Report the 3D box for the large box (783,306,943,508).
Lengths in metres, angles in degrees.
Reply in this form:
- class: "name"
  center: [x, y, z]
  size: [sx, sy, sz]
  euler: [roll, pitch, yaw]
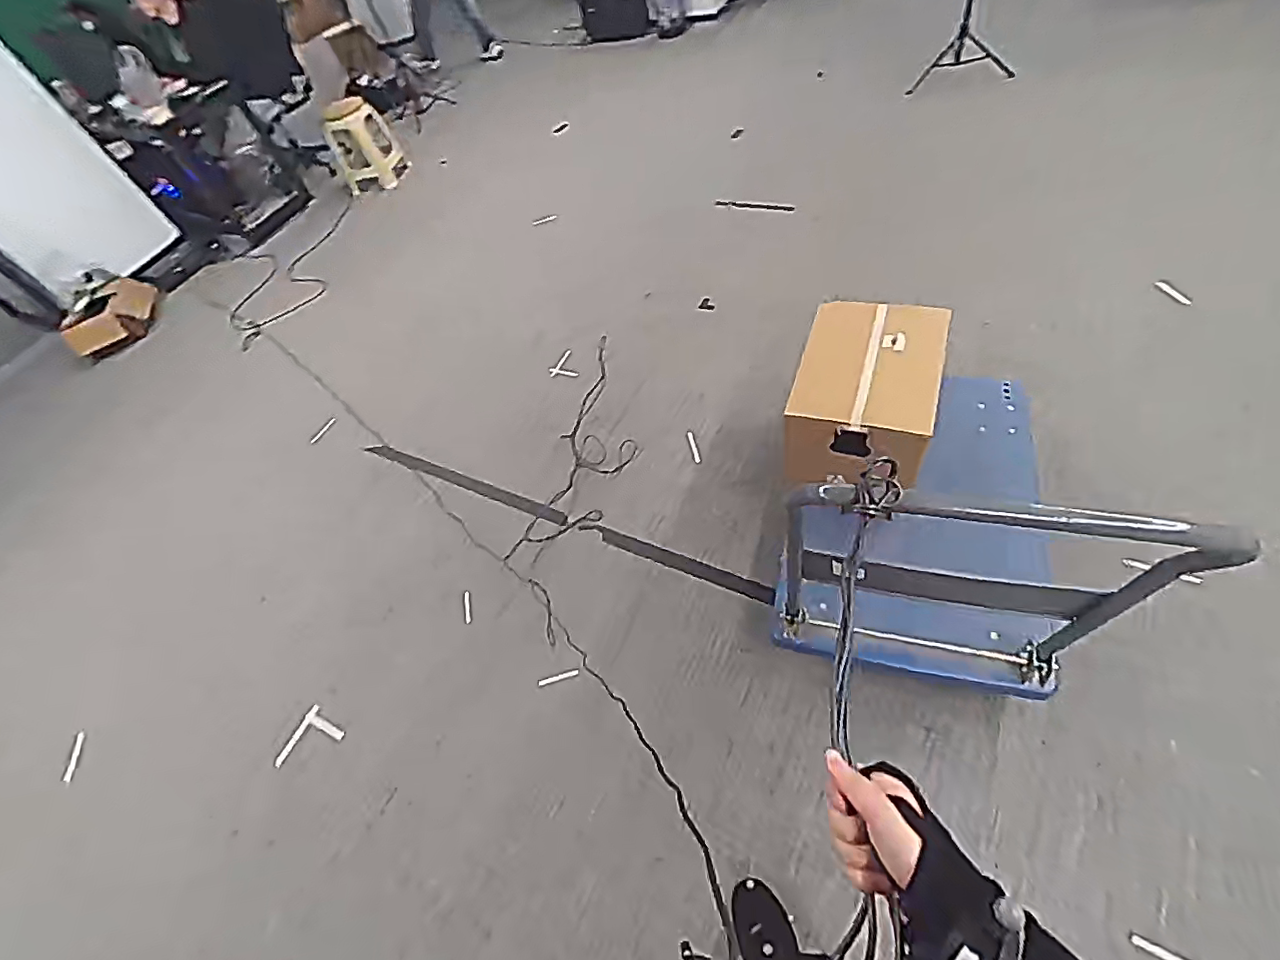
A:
- class: "large box"
  center: [0.565, -0.189, 1.396]
  size: [0.320, 0.320, 0.408]
  euler: [12, 59, 21]
